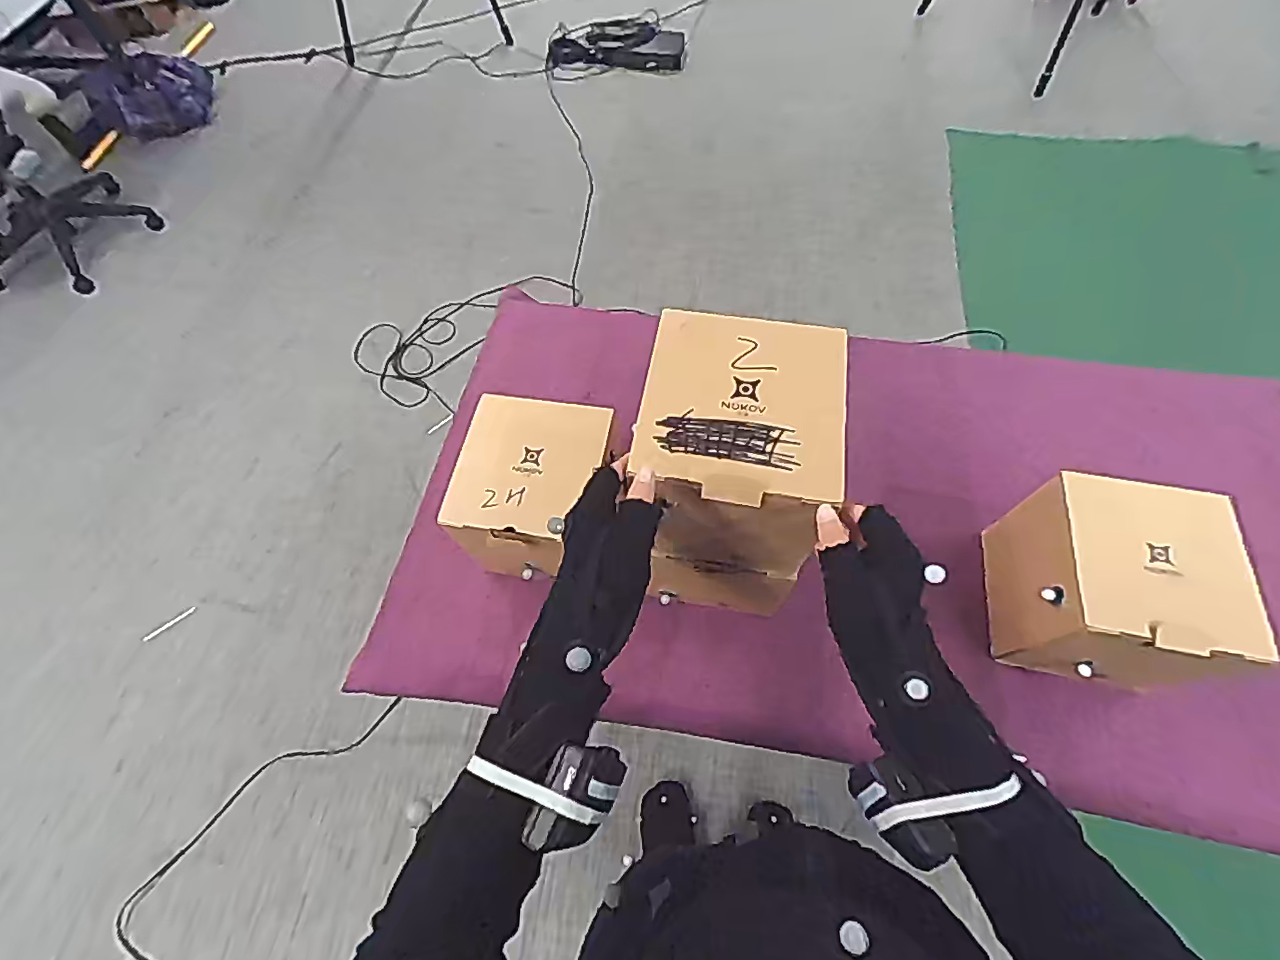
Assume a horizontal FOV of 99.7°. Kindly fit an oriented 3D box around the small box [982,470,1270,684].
[{"bbox_3d":[0.515,0.115,0.611,0.168,0.176,0.179,10,63,8],"label":"small box"}]

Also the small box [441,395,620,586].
[{"bbox_3d":[-0.122,0.018,0.690,0.168,0.176,0.179,8,63,7],"label":"small box"}]

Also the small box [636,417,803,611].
[{"bbox_3d":[0.096,0.049,0.665,0.168,0.176,0.179,9,63,7],"label":"small box"}]
